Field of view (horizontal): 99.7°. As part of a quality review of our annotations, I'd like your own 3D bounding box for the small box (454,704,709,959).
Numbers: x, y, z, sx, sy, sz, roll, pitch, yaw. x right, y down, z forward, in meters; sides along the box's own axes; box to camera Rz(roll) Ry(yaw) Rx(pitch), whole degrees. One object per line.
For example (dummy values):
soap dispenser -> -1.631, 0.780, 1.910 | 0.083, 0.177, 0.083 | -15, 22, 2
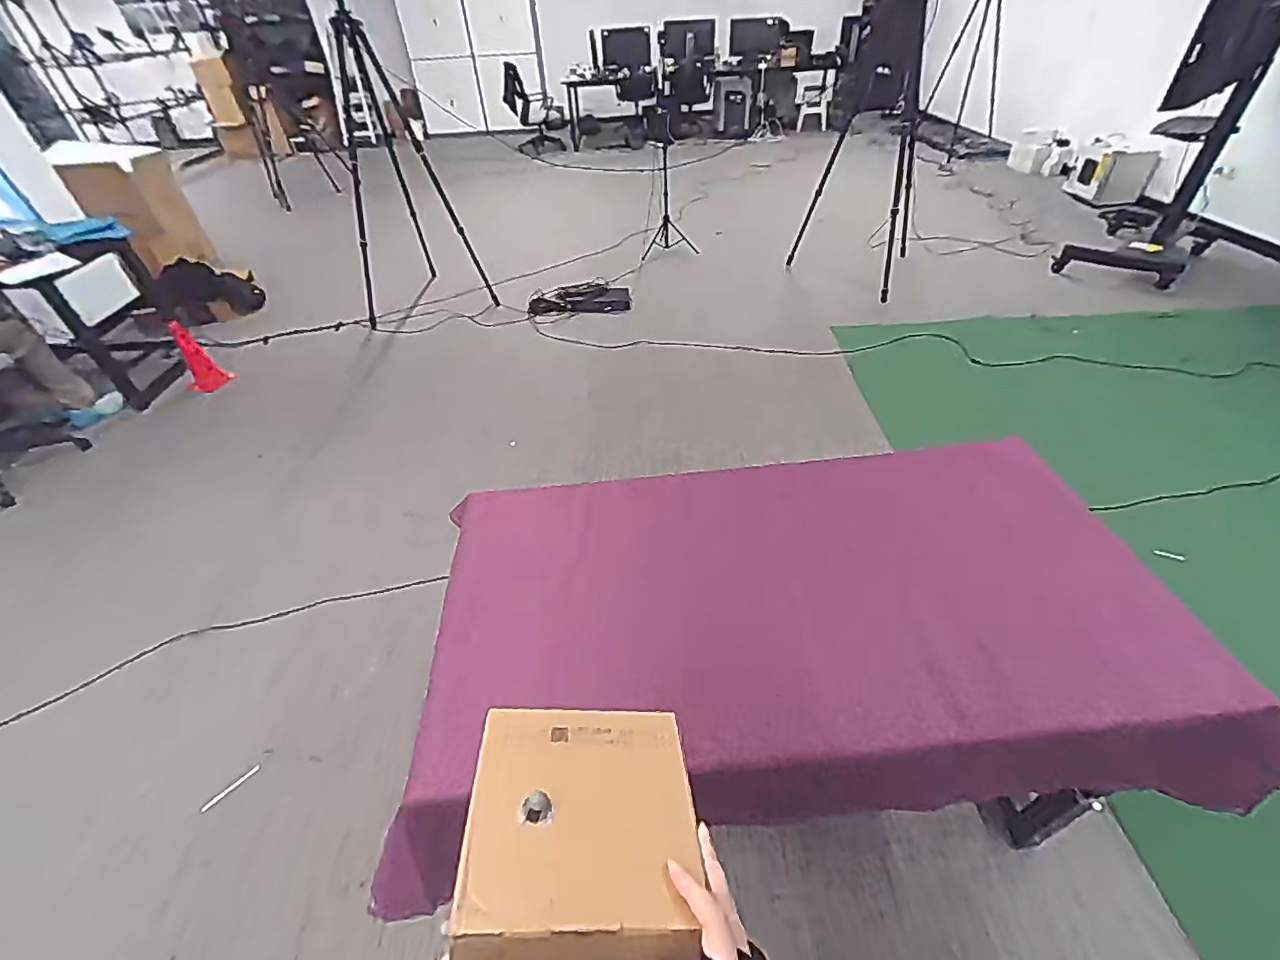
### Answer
small box -> -0.054, 0.311, 0.448 | 0.168, 0.179, 0.176 | 6, 25, -8
